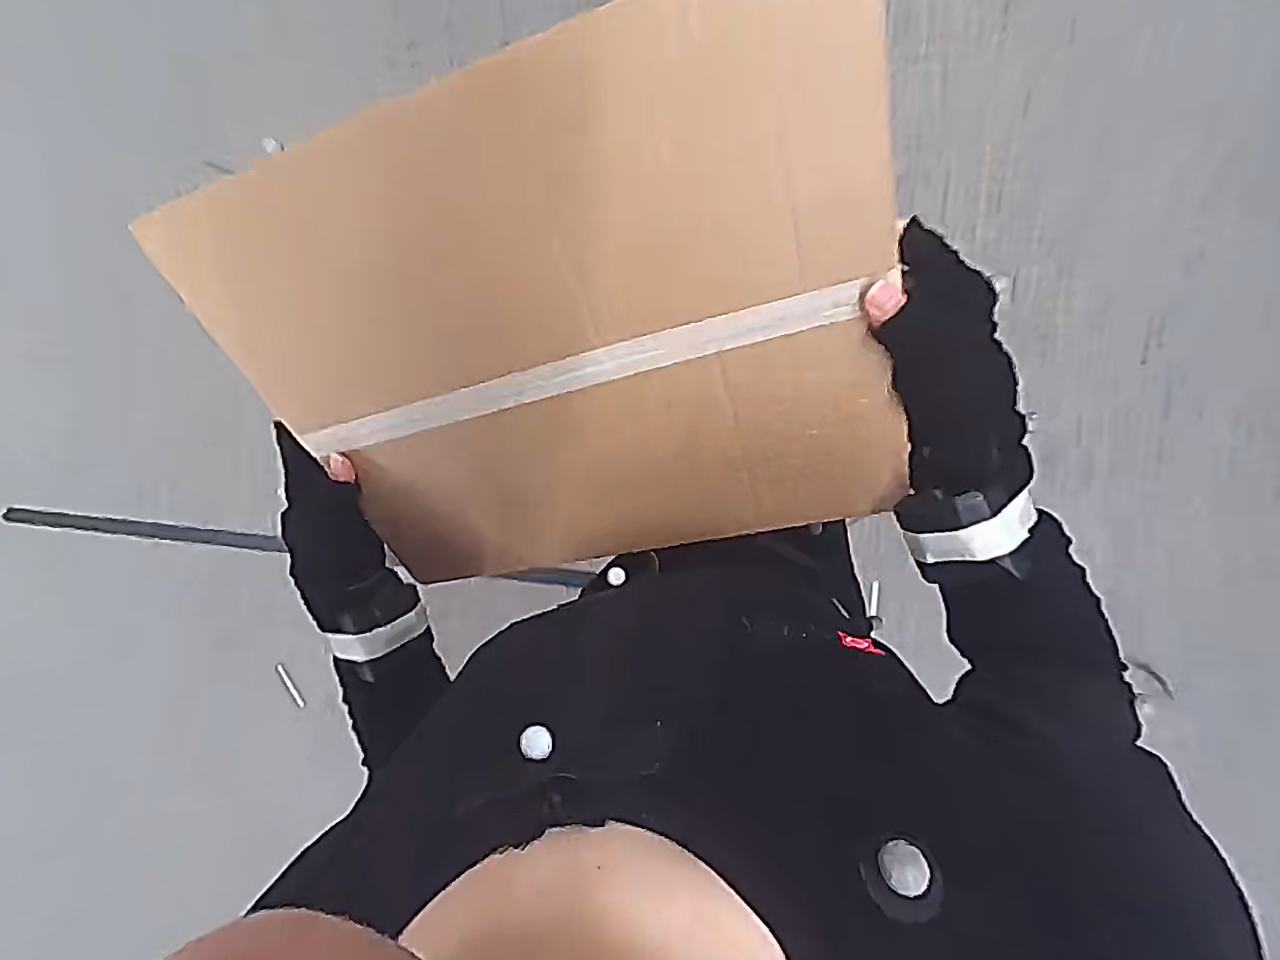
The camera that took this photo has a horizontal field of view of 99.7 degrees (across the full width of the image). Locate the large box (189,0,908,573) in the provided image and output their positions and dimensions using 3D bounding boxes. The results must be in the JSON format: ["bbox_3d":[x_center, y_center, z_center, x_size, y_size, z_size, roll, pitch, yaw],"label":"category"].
[{"bbox_3d":[-0.030,-0.160,0.472,0.408,0.320,0.320,-11,126,16],"label":"large box"}]
